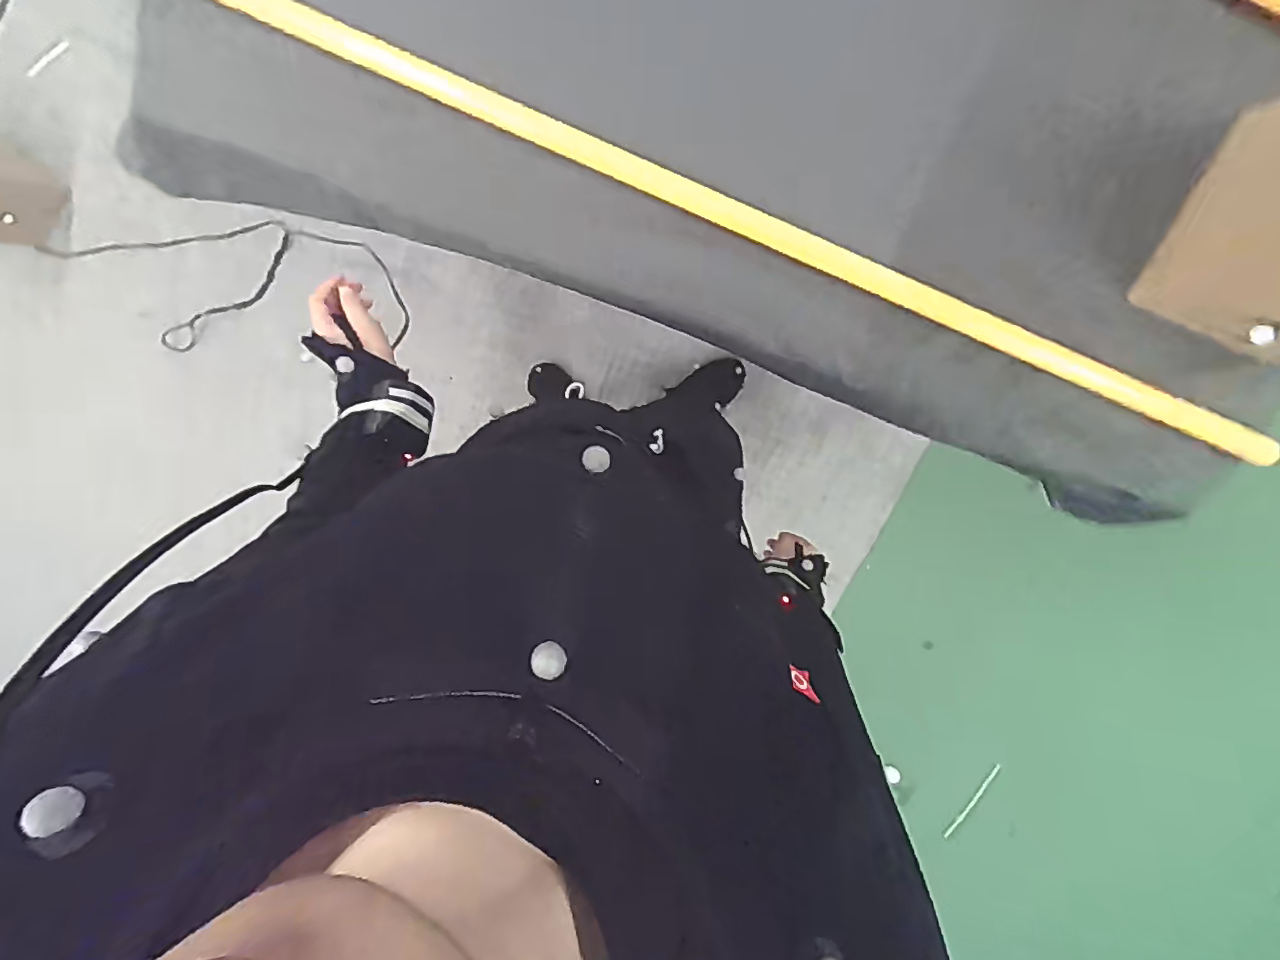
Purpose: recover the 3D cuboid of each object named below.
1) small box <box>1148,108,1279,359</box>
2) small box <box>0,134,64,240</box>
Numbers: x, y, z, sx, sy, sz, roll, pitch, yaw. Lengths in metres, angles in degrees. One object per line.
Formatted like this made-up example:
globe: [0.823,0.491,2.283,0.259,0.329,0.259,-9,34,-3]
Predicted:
small box: [0.586,-0.202,0.440,0.168,0.176,0.179,22,107,-2]
small box: [-1.477,-0.669,1.216,0.168,0.176,0.179,42,105,-8]
